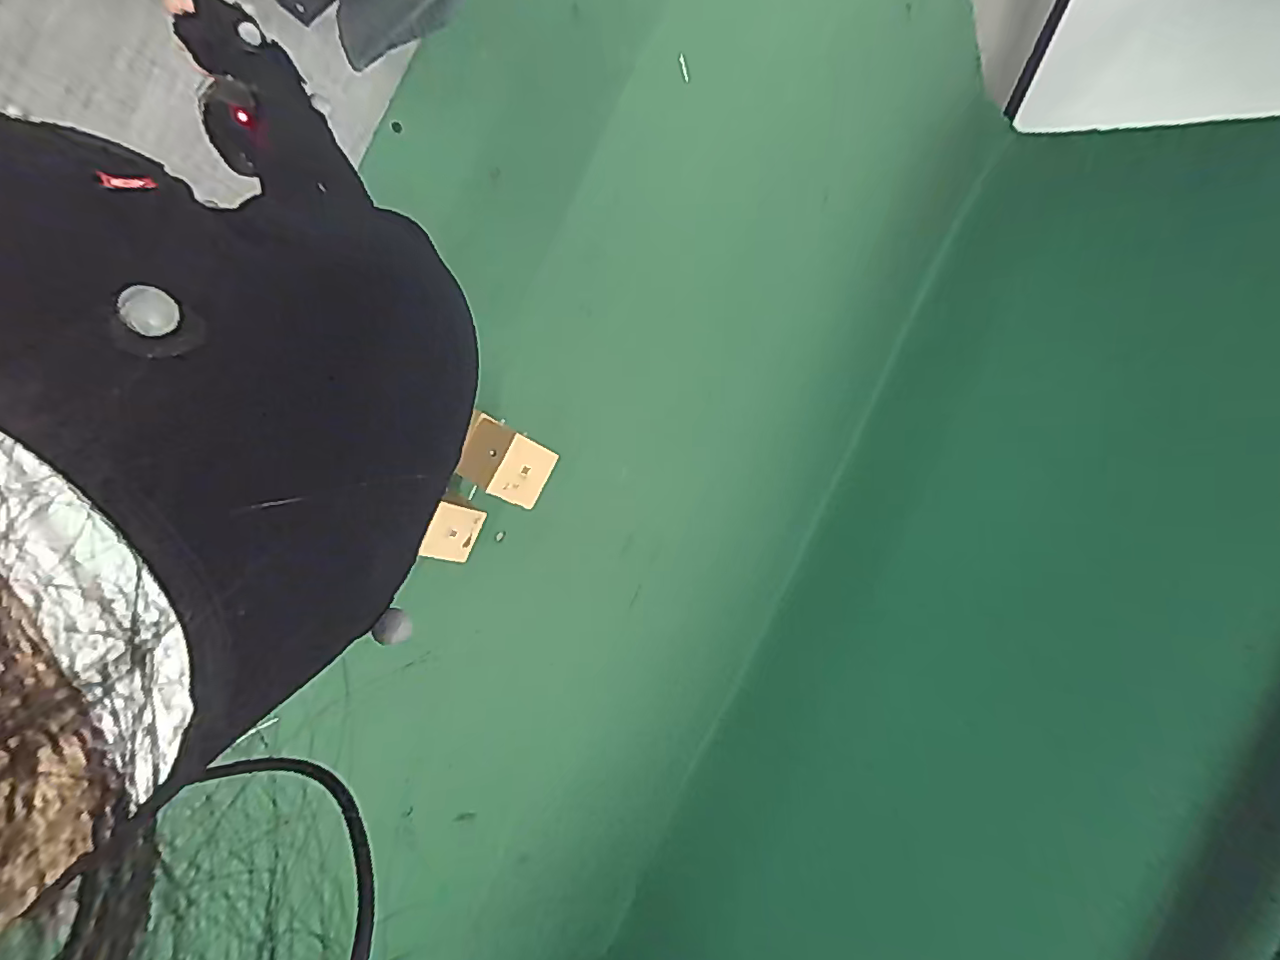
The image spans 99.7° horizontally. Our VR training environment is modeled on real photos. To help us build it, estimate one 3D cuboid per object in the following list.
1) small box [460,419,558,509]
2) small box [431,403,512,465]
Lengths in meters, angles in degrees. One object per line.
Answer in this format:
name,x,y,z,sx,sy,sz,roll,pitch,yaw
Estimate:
small box,-0.366,-0.048,1.496,0.168,0.176,0.179,31,85,-49
small box,-0.480,-0.112,1.597,0.179,0.176,0.168,33,84,-49
